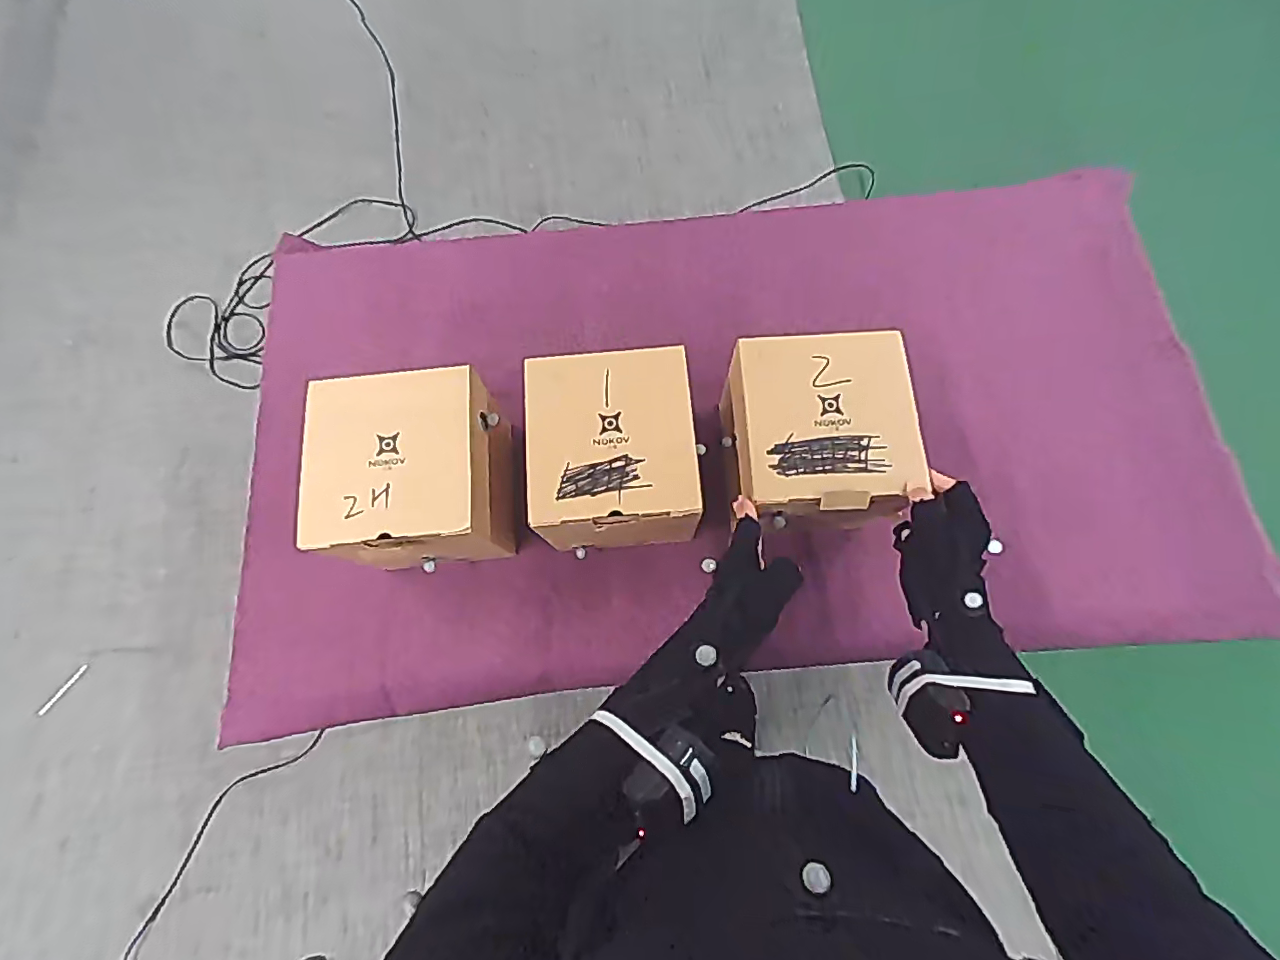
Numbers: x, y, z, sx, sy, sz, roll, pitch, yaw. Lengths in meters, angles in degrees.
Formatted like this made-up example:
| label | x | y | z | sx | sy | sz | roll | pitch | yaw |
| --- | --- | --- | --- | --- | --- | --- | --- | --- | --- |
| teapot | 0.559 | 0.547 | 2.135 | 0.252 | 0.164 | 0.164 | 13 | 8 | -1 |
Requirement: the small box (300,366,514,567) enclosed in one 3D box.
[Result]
| label | x | y | z | sx | sy | sz | roll | pitch | yaw |
| --- | --- | --- | --- | --- | --- | --- | --- | --- | --- |
| small box | -0.243 | -0.006 | 0.607 | 0.168 | 0.176 | 0.179 | -6 | 75 | 0 |
